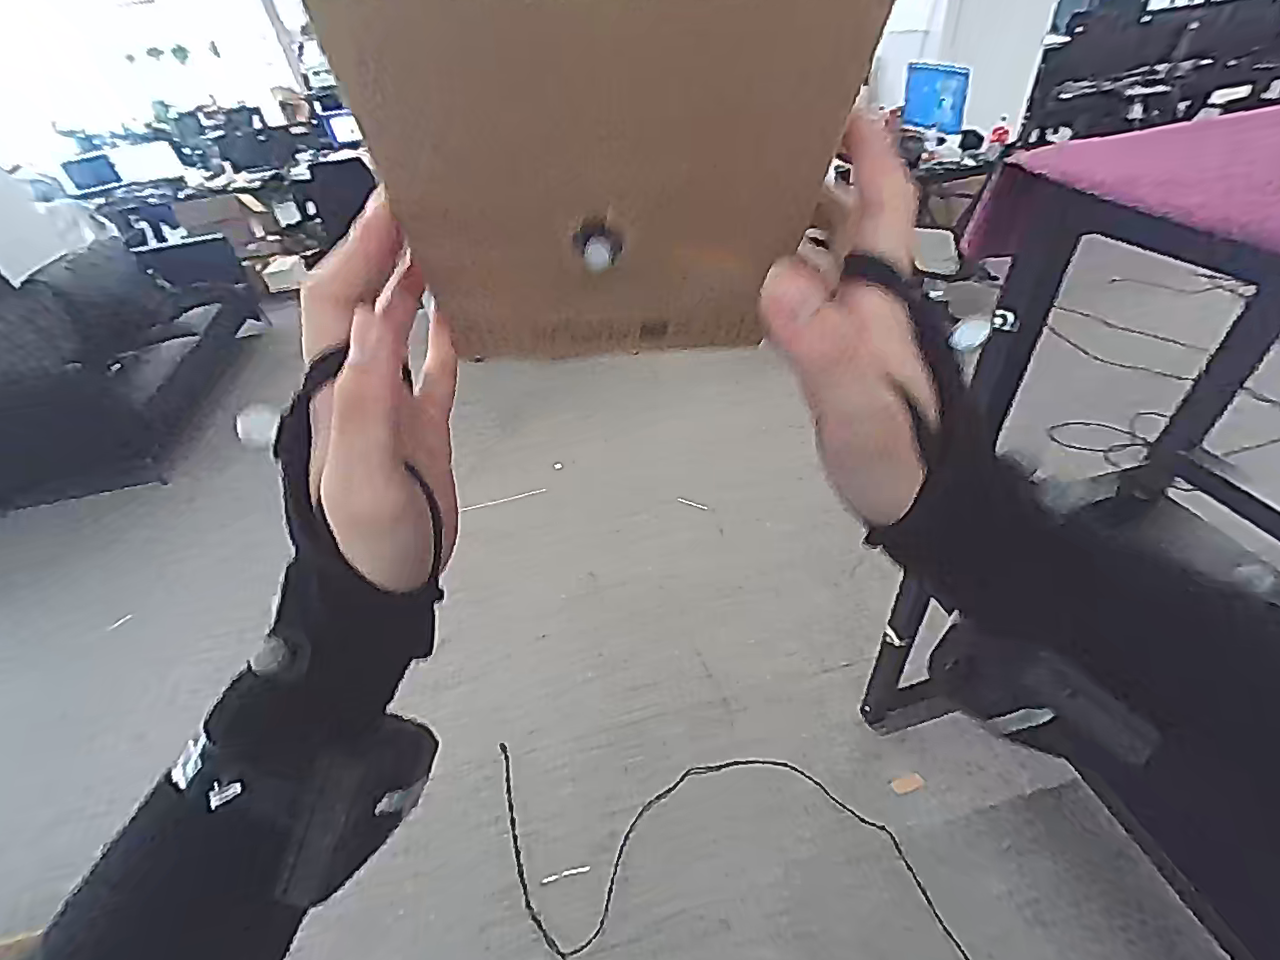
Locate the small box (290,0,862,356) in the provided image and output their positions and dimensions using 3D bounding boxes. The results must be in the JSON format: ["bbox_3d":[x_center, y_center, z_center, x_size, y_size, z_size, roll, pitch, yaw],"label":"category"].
[{"bbox_3d":[-0.023,-0.173,0.257,0.168,0.176,0.179,-3,66,-4],"label":"small box"}]
